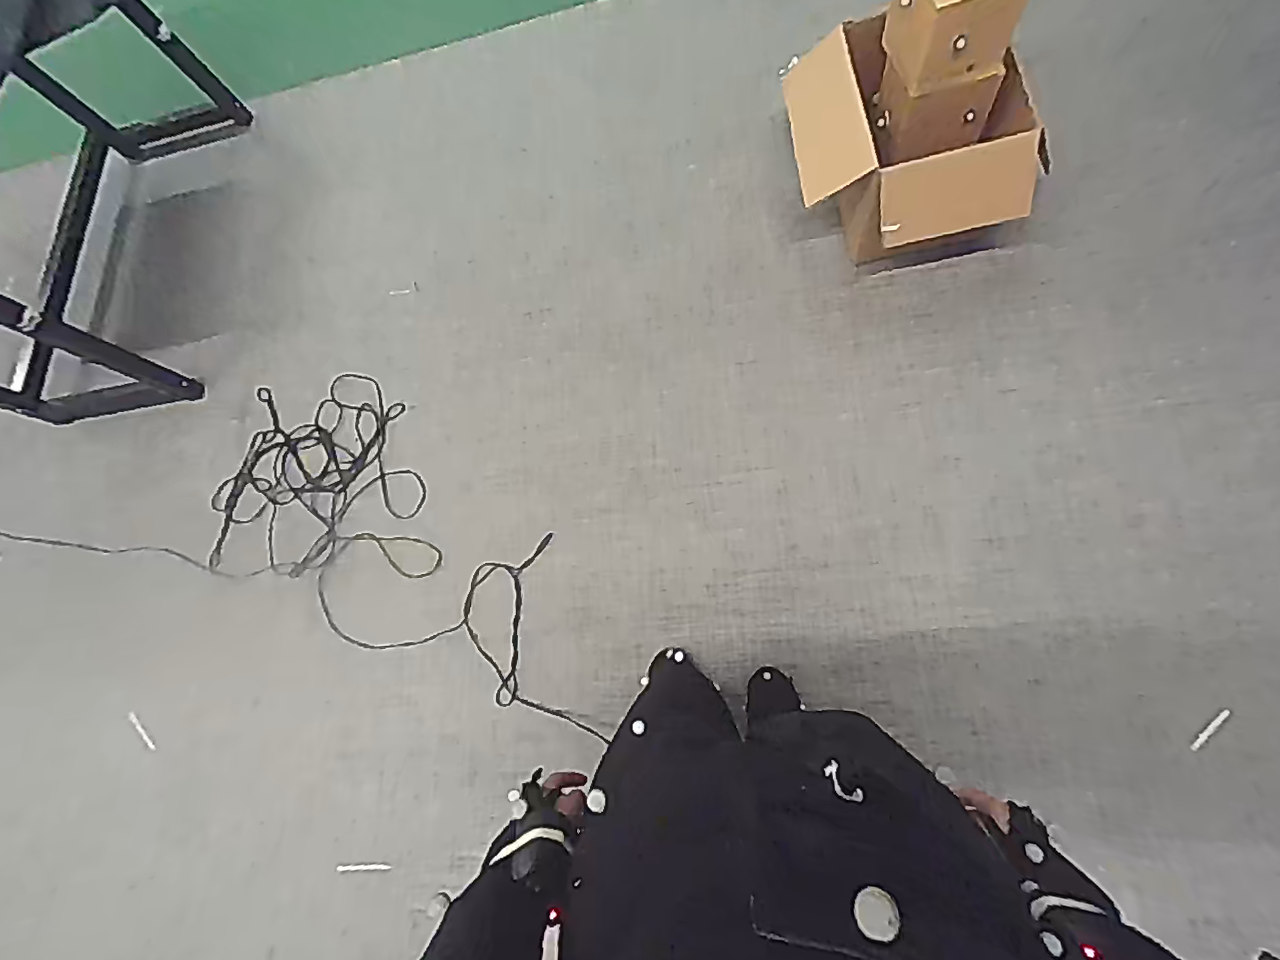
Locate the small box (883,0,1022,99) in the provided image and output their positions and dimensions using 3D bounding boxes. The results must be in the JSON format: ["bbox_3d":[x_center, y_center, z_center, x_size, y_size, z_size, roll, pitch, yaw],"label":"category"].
[{"bbox_3d":[0.583,-0.863,1.020,0.168,0.176,0.179,-15,70,8],"label":"small box"}]
